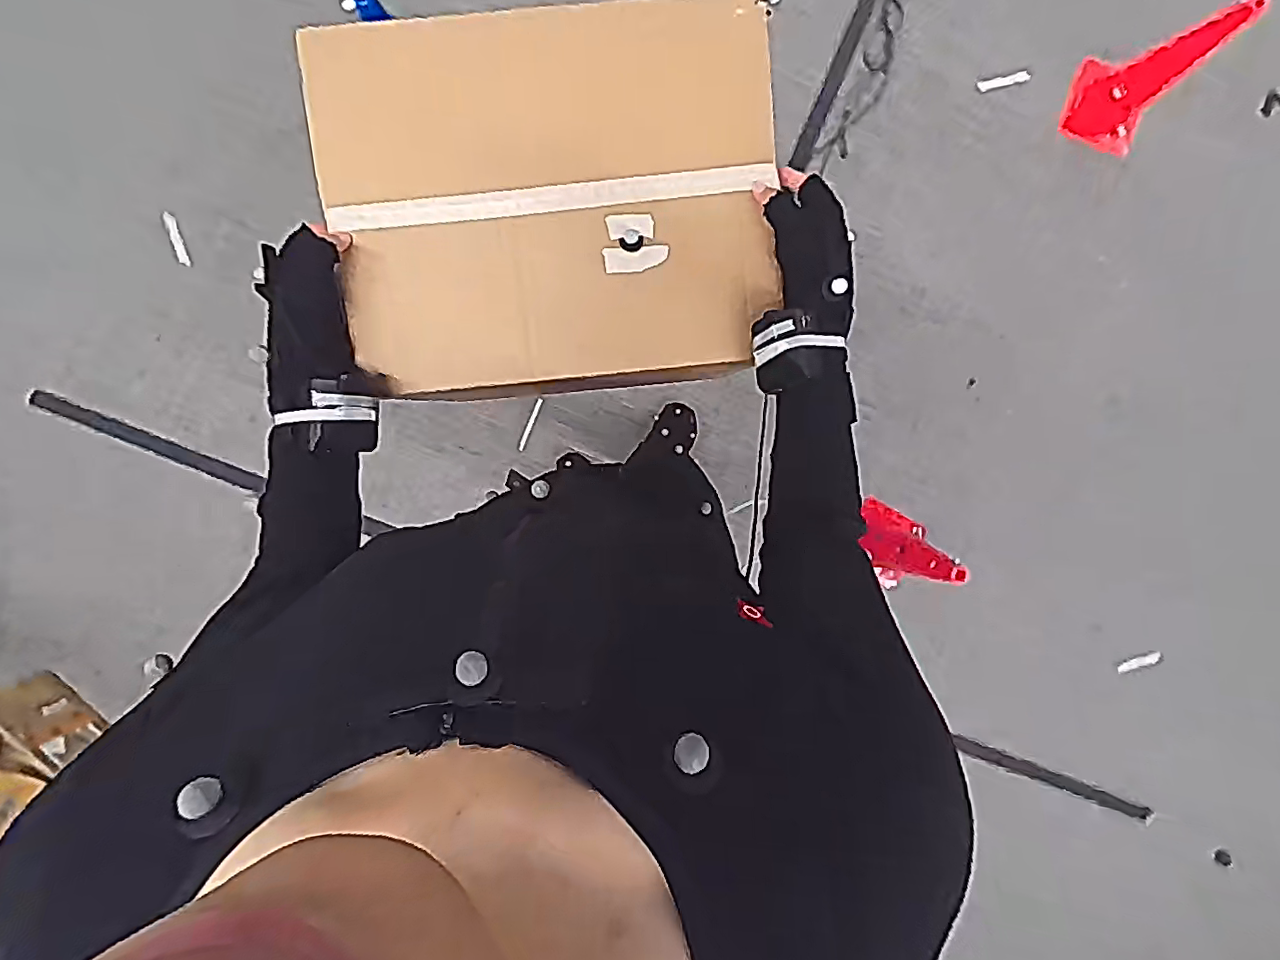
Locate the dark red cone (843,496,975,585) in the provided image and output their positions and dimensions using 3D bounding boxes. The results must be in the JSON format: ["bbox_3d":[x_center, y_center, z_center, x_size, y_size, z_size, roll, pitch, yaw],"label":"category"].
[{"bbox_3d":[0.682,0.182,1.319,0.201,0.394,0.202,28,94,-3],"label":"dark red cone"}]

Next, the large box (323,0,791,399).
[{"bbox_3d":[-0.073,-0.272,0.639,0.408,0.320,0.320,-5,98,-1],"label":"large box"}]

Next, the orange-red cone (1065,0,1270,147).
[{"bbox_3d":[1.242,-0.990,1.255,0.198,0.360,0.199,20,93,-4],"label":"orange-red cone"}]
